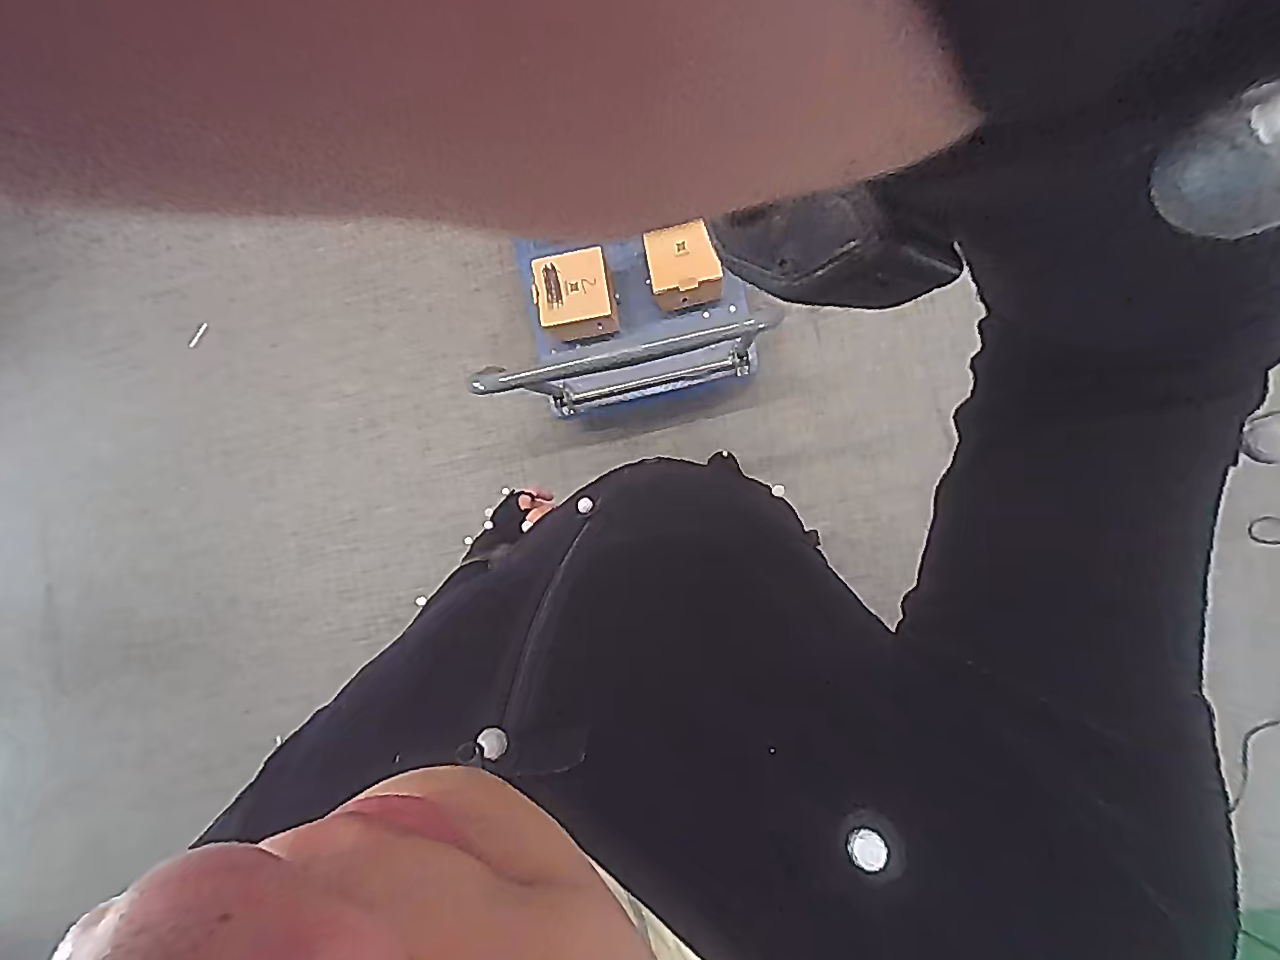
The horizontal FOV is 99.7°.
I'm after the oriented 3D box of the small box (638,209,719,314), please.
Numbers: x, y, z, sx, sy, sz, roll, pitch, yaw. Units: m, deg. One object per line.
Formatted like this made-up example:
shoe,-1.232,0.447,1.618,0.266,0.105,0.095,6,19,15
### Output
small box,0.097,-0.533,1.341,0.168,0.176,0.179,-12,91,7
